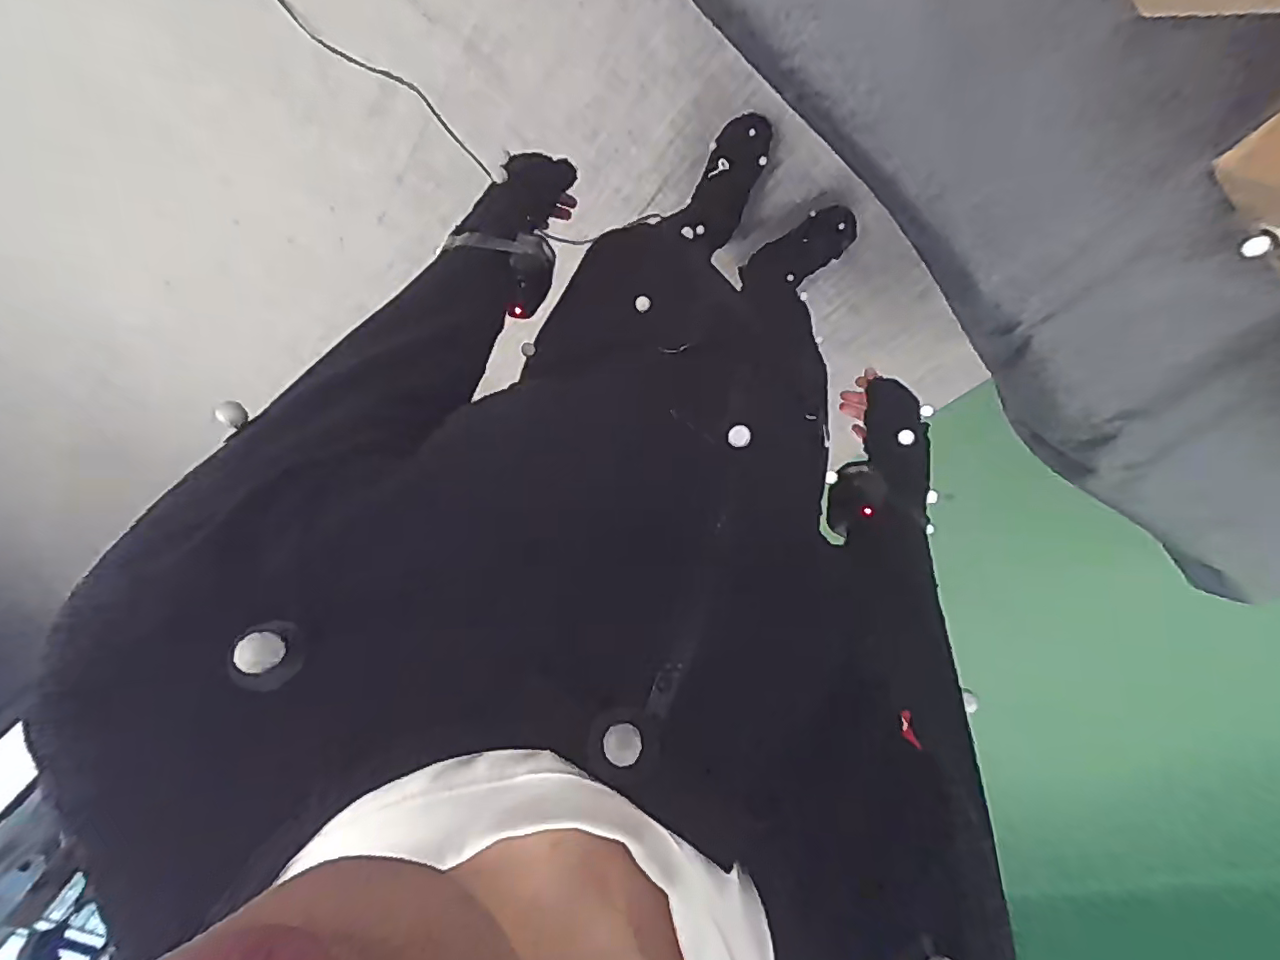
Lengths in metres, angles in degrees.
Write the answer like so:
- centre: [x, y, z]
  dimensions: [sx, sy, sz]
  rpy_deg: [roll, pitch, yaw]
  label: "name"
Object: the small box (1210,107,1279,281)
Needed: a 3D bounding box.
- centre: [0.568, -0.215, 0.362]
  dimensions: [0.168, 0.176, 0.179]
  rpy_deg: [36, 129, -16]
  label: "small box"
